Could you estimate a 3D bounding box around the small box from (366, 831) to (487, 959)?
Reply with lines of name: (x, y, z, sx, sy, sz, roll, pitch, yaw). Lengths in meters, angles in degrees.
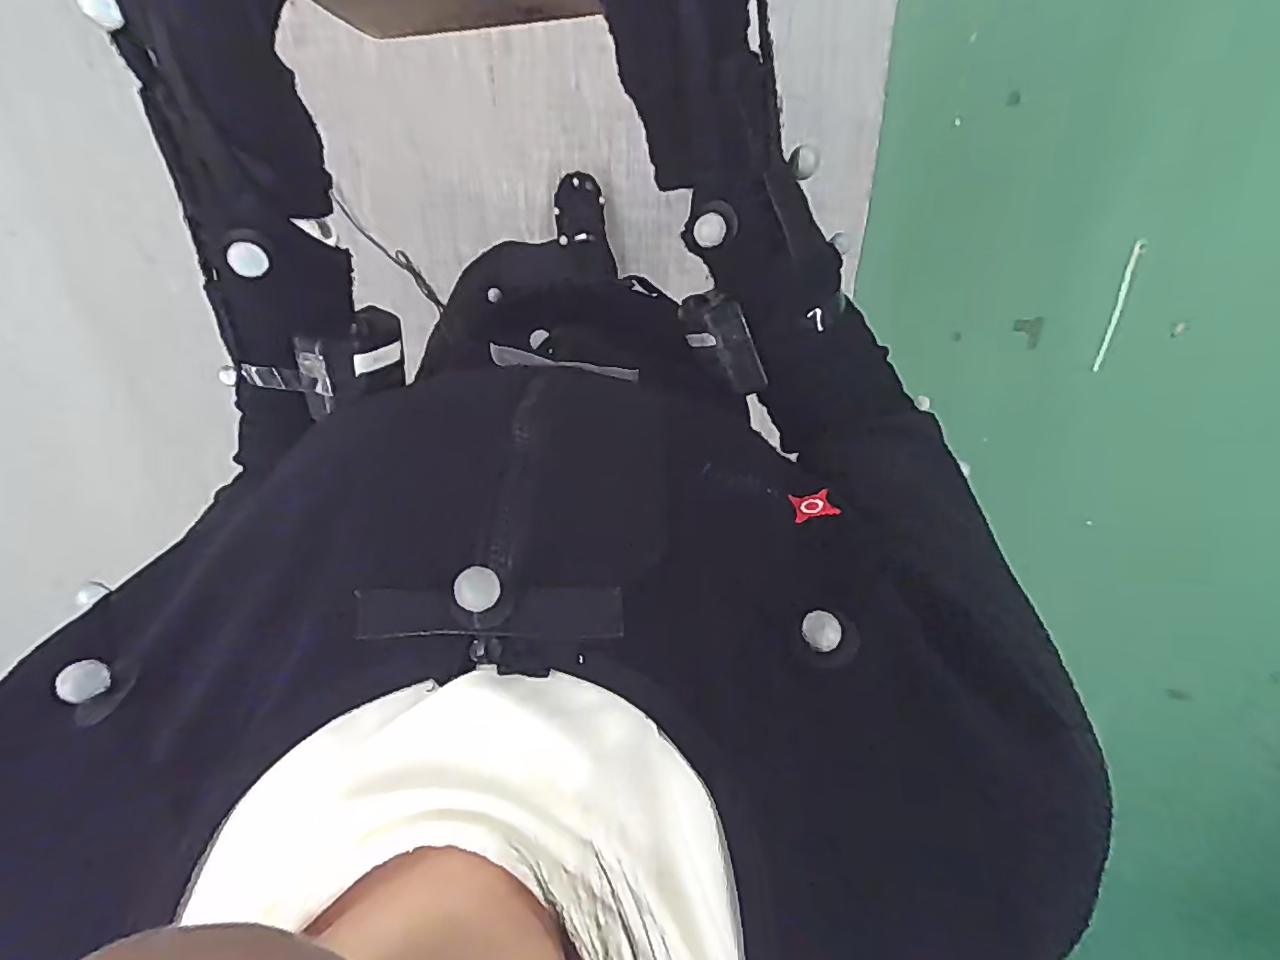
small box: (-0.427, 0.868, 1.116, 0.168, 0.176, 0.179, -8, 113, -1)

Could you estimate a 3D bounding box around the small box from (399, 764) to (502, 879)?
small box: (-0.433, 0.802, 1.266, 0.168, 0.176, 0.179, -7, 112, 0)
